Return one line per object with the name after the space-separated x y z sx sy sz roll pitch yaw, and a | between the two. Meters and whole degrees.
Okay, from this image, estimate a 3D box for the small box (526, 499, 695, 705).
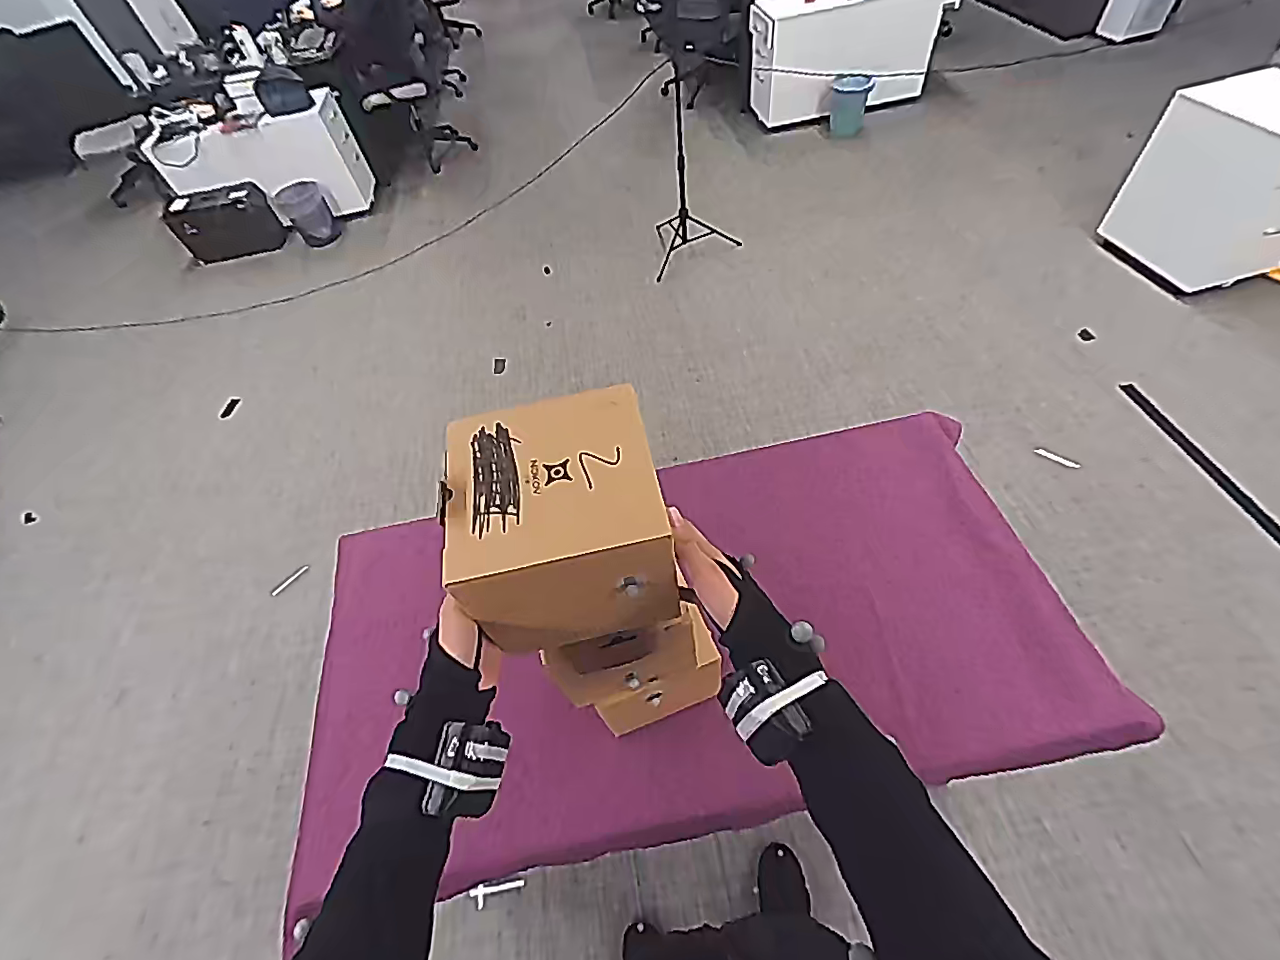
-0.034 0.157 0.681 0.168 0.176 0.179 -16 53 -3 | small box

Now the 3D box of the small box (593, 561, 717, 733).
0.007 0.255 0.808 0.179 0.176 0.168 -19 54 -7 | small box
